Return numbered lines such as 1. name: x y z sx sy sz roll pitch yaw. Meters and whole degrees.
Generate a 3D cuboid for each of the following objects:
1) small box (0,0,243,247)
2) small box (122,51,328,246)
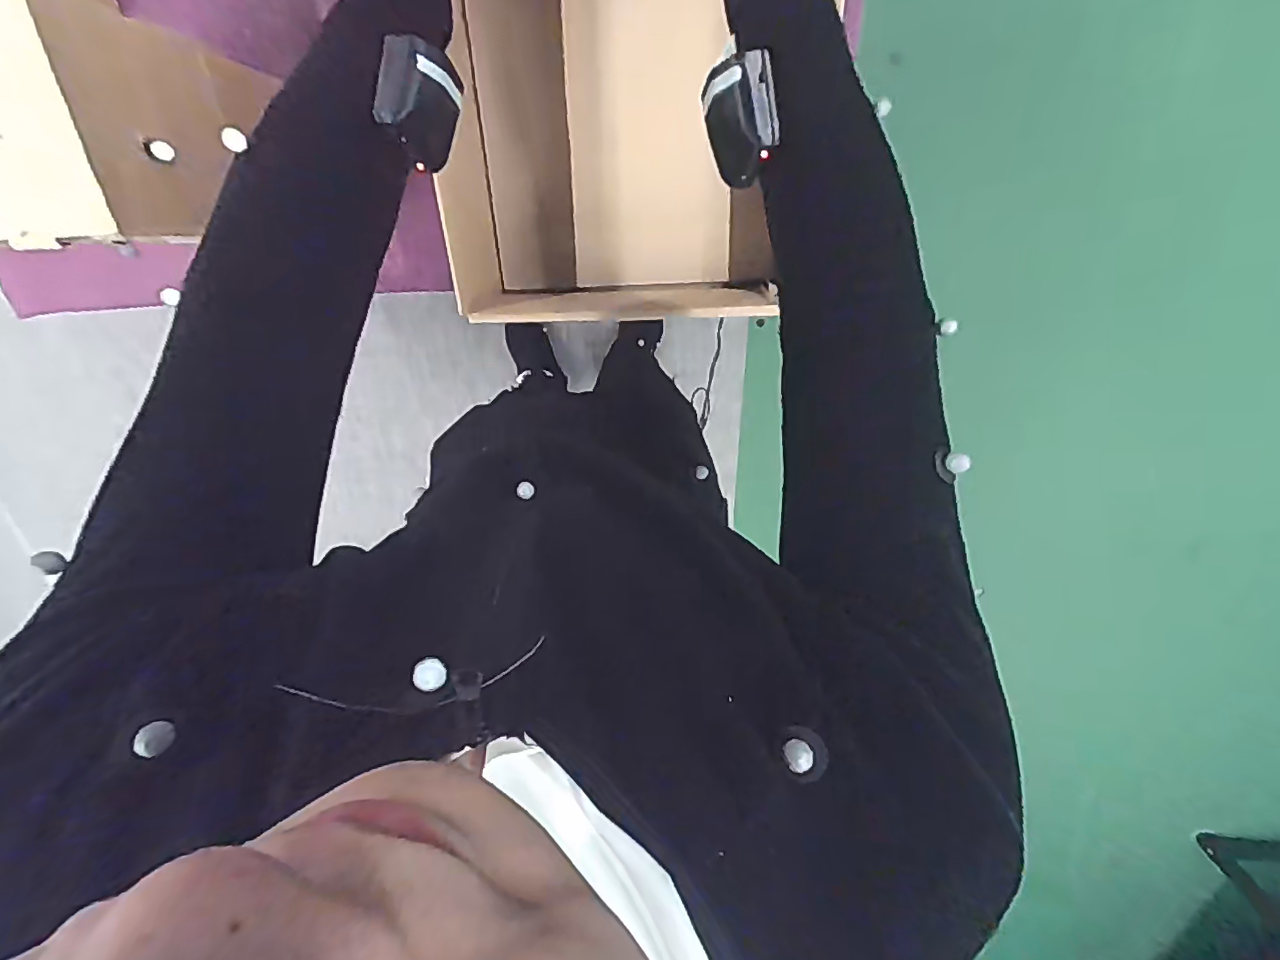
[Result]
1. small box: -0.517 -0.314 0.496 0.168 0.176 0.179 -1 115 2
2. small box: -0.510 -0.379 0.647 0.168 0.176 0.179 -1 113 2
